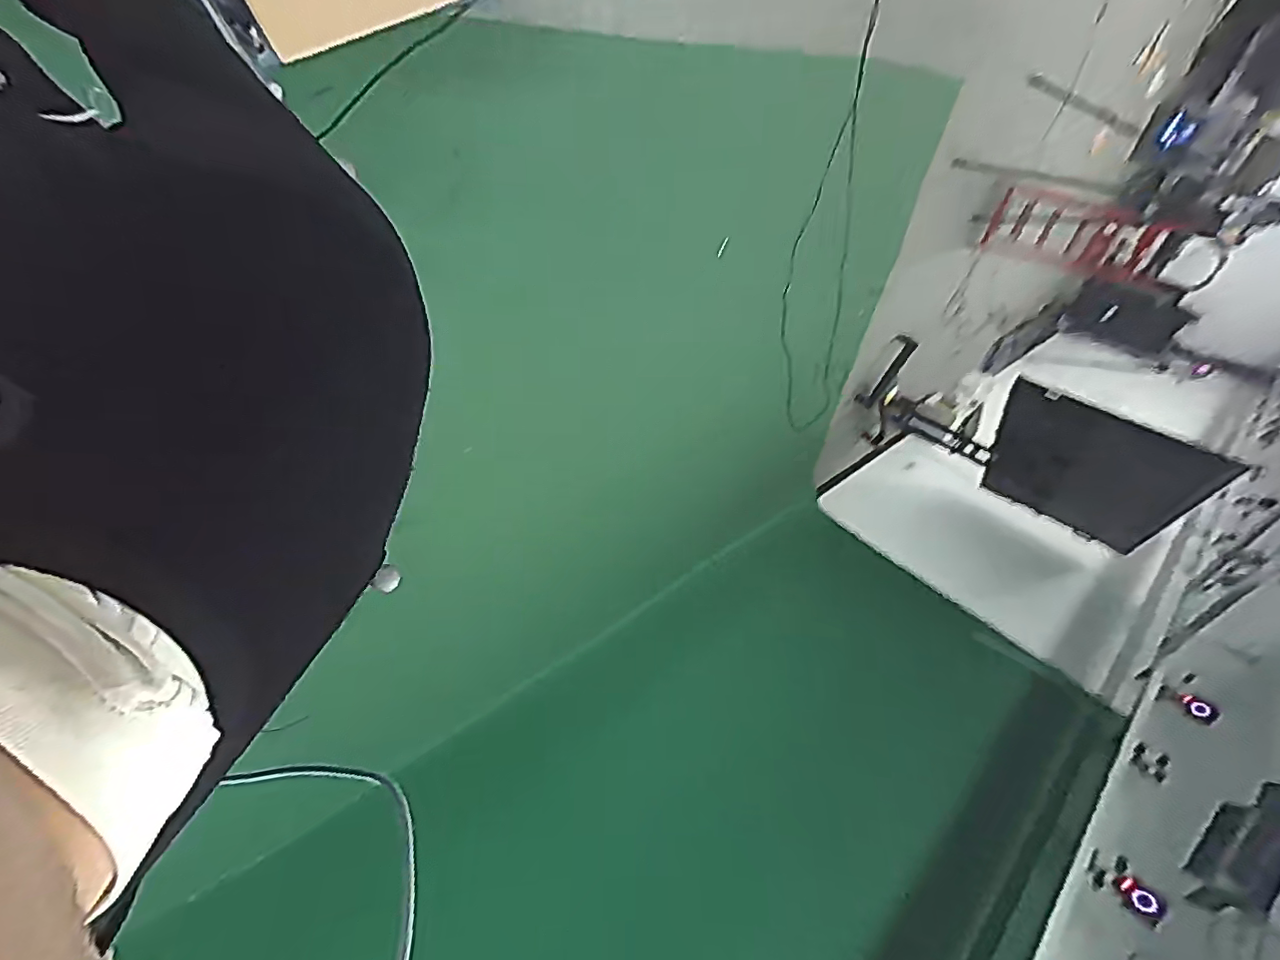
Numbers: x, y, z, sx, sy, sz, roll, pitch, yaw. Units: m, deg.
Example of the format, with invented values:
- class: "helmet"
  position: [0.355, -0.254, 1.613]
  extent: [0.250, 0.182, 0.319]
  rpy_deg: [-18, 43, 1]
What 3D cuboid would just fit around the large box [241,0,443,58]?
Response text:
- class: "large box"
  position: [-0.480, -0.913, 0.818]
  extent: [0.408, 0.320, 0.320]
  rpy_deg: [-31, 143, -11]
